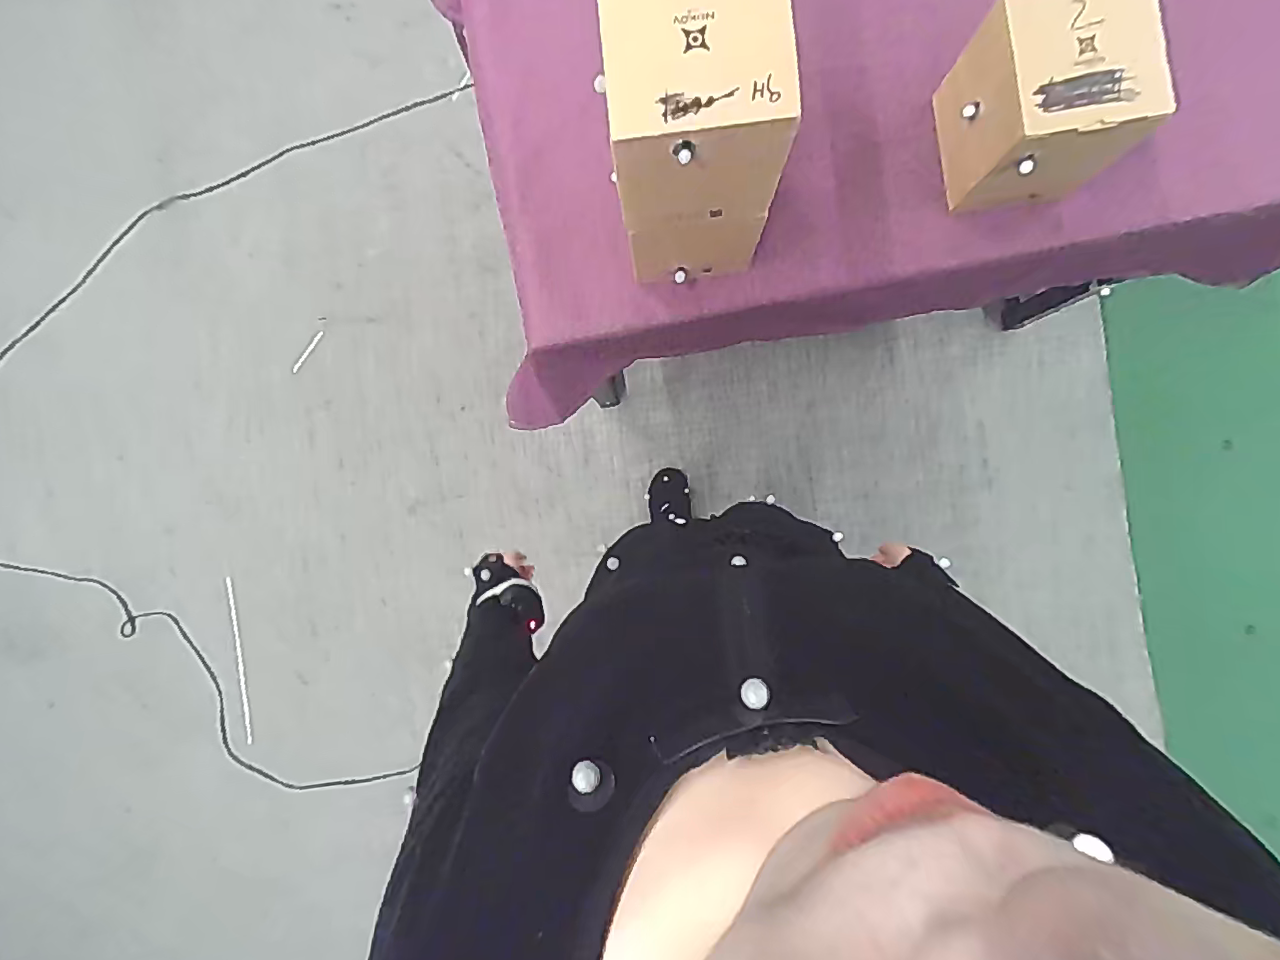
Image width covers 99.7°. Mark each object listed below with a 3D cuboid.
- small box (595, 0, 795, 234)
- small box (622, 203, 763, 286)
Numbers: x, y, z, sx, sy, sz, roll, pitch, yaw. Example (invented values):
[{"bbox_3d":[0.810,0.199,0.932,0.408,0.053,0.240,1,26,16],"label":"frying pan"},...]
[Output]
[{"bbox_3d":[0.050,-0.381,0.547,0.168,0.176,0.179,-6,87,5],"label":"small box"},{"bbox_3d":[0.060,-0.378,0.712,0.168,0.176,0.179,-5,89,4],"label":"small box"}]
